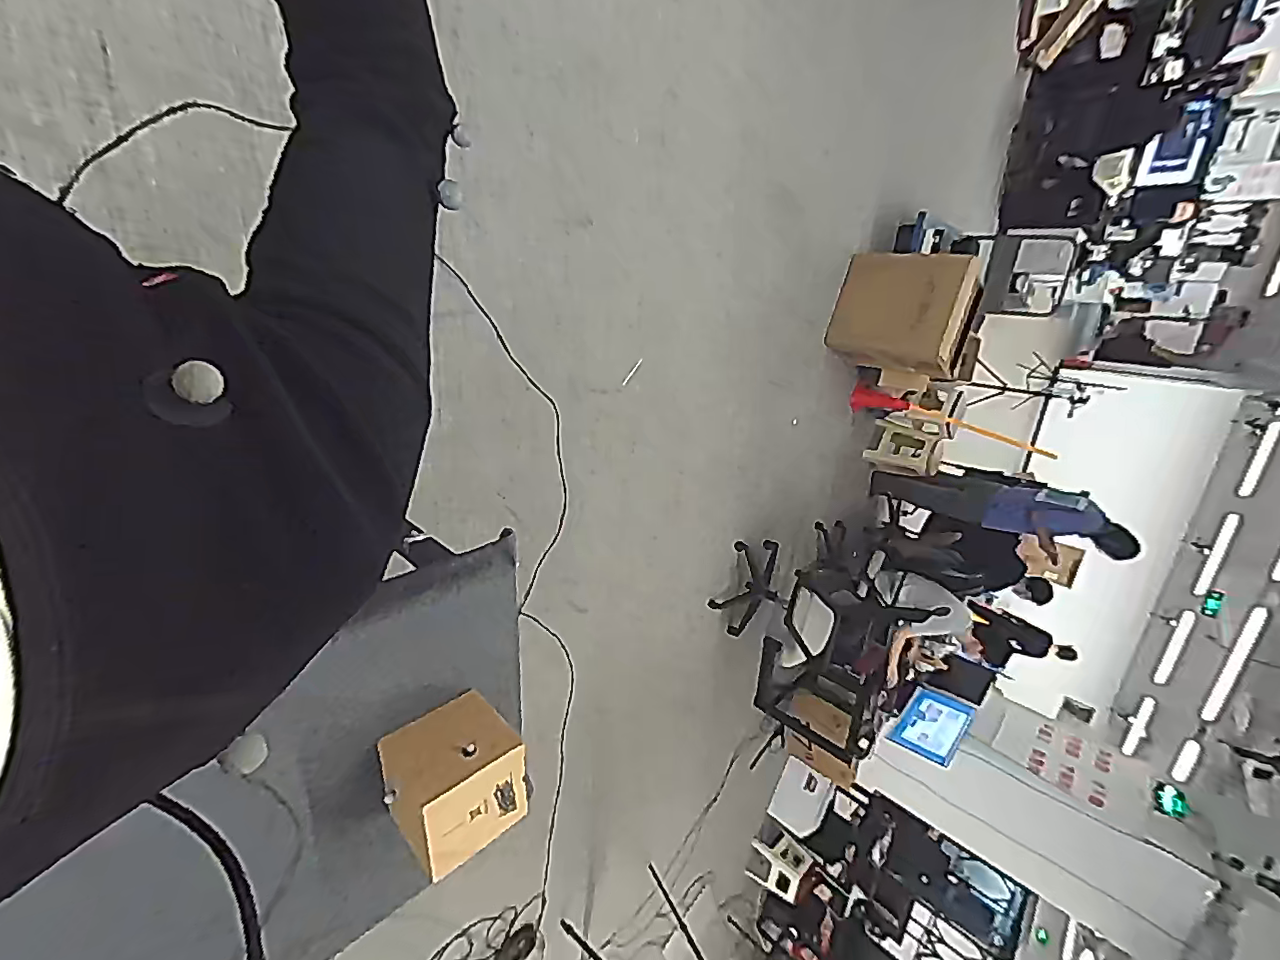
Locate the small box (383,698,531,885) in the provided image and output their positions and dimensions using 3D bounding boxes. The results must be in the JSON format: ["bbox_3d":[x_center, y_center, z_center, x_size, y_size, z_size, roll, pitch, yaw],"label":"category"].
[{"bbox_3d":[-0.305,0.507,0.912,0.179,0.176,0.168,-18,118,-42],"label":"small box"}]
